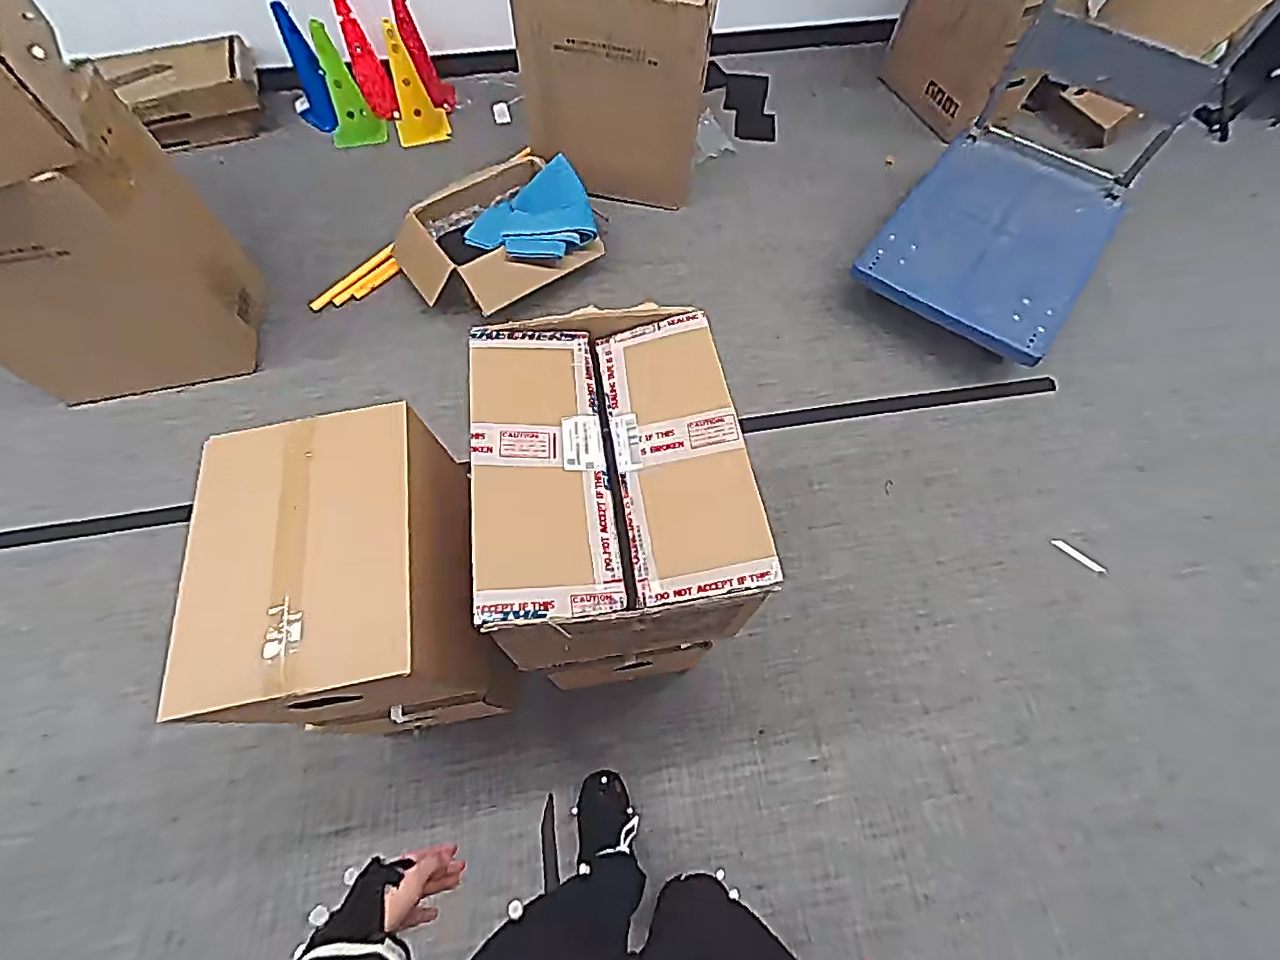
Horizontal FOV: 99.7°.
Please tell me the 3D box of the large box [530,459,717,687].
[{"bbox_3d":[-0.049,0.215,1.208,0.320,0.320,0.408,-9,65,-5],"label":"large box"}]
